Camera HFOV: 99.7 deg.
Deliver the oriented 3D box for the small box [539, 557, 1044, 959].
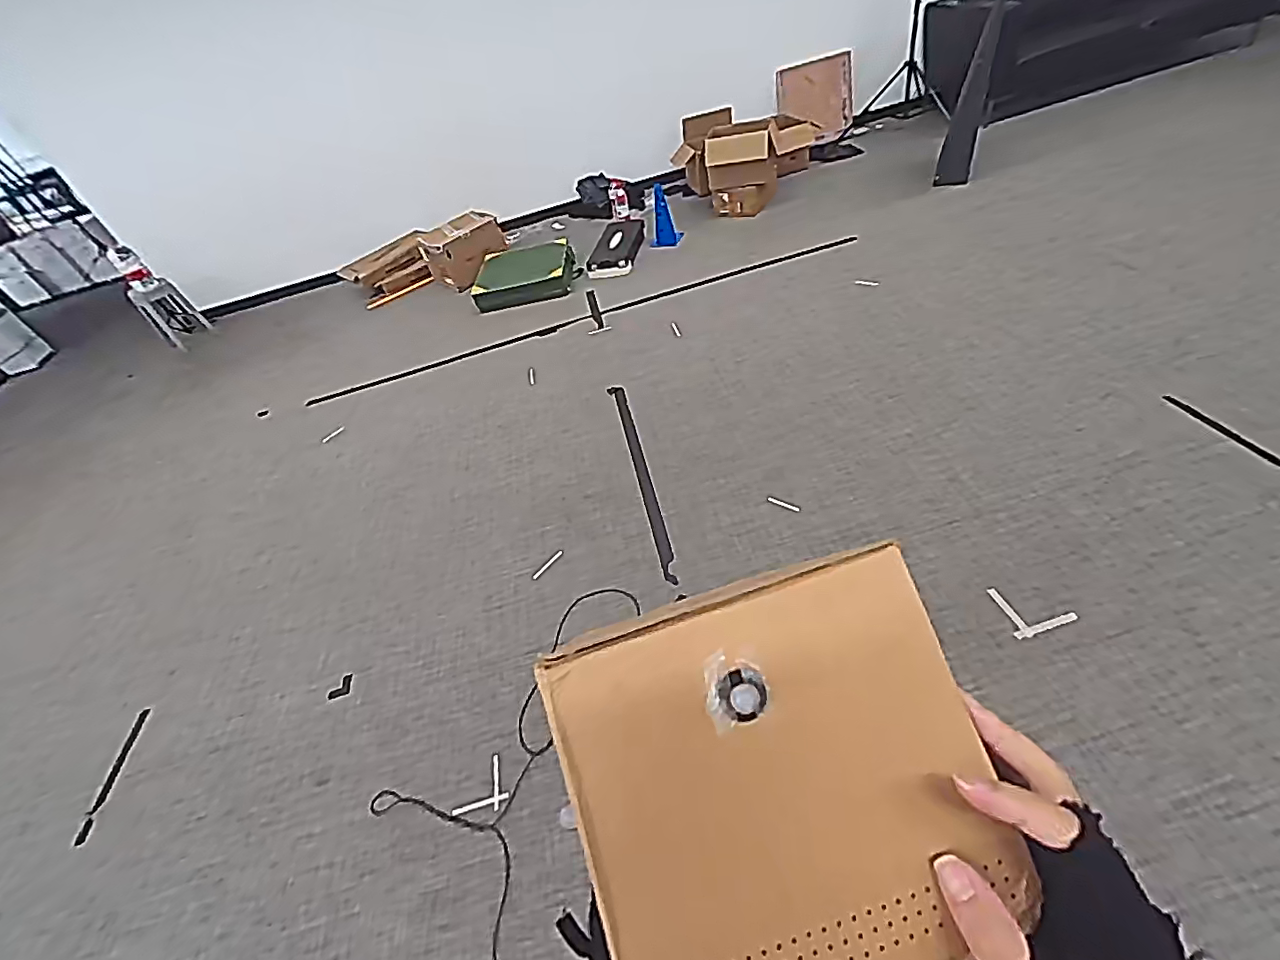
[{"bbox_3d":[0.064,0.156,0.302,0.179,0.168,0.176,-18,78,-3],"label":"small box"}]
